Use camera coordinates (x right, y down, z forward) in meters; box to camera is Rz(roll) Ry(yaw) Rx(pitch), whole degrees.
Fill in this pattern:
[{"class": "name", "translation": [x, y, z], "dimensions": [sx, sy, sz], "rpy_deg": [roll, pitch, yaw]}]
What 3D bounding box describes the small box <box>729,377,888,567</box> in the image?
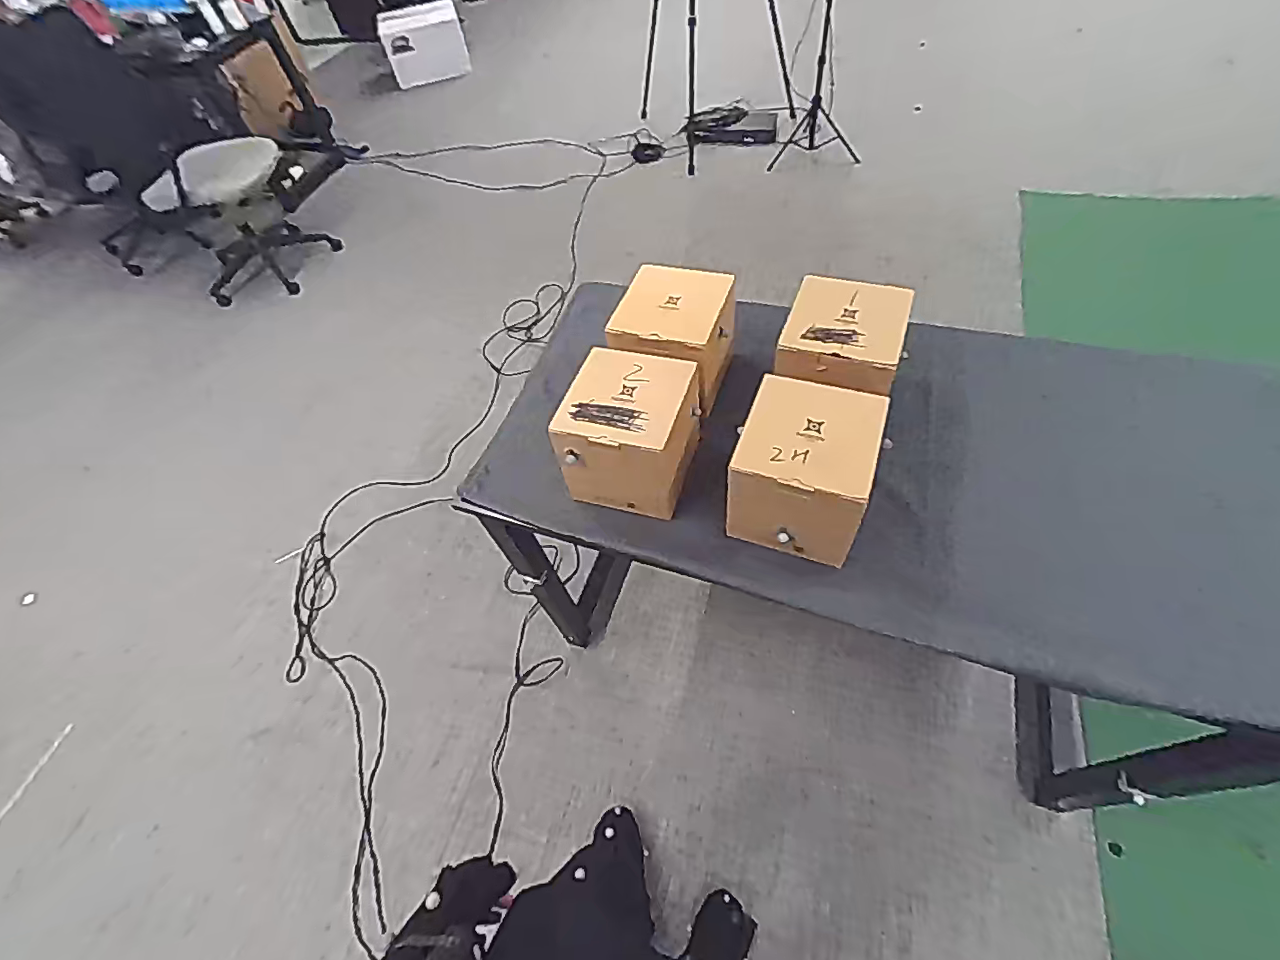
[{"class": "small box", "translation": [0.224, -0.010, 0.748], "dimensions": [0.168, 0.176, 0.179], "rpy_deg": [15, 58, 18]}]
